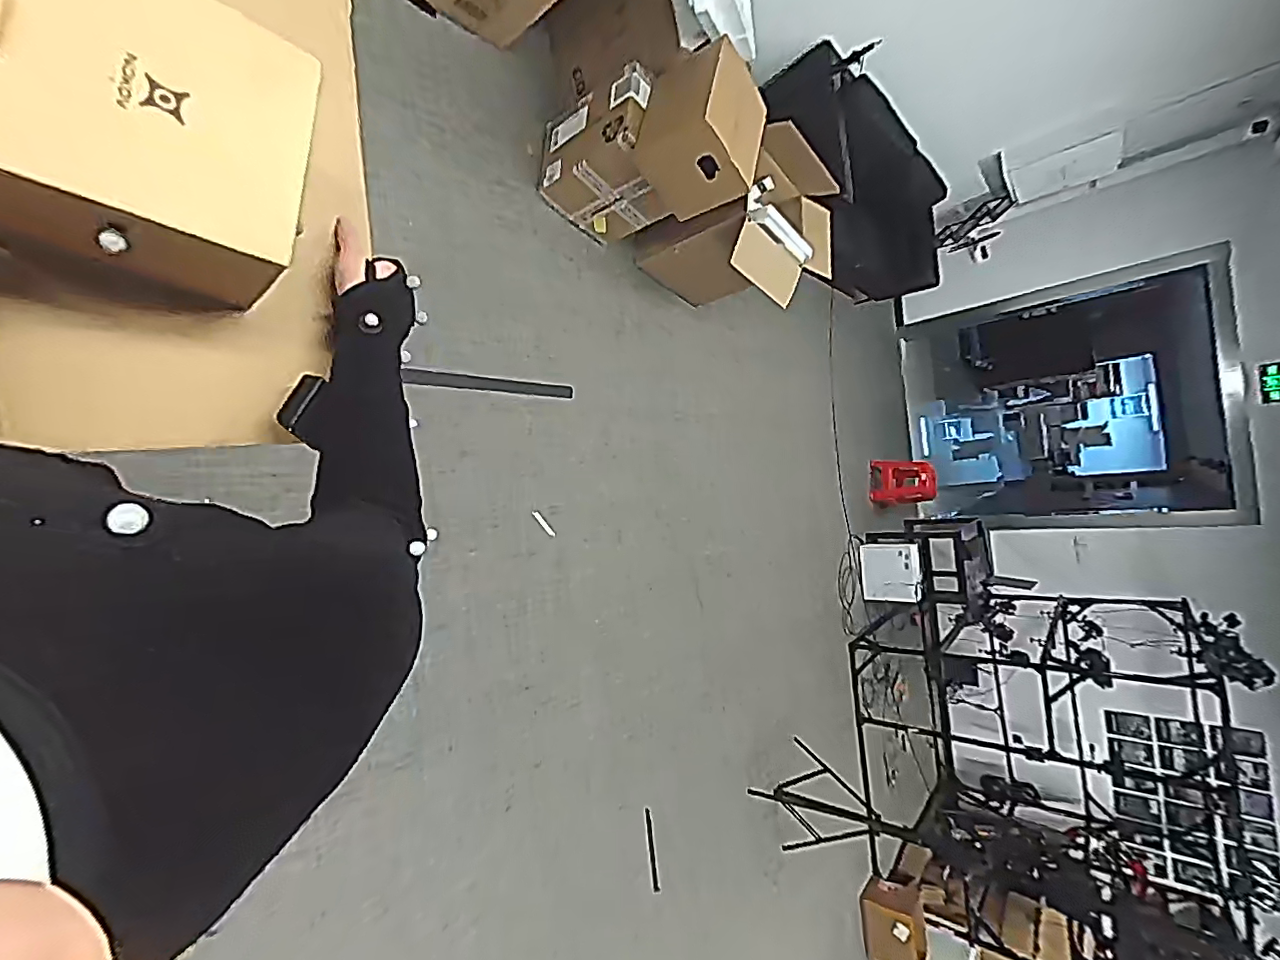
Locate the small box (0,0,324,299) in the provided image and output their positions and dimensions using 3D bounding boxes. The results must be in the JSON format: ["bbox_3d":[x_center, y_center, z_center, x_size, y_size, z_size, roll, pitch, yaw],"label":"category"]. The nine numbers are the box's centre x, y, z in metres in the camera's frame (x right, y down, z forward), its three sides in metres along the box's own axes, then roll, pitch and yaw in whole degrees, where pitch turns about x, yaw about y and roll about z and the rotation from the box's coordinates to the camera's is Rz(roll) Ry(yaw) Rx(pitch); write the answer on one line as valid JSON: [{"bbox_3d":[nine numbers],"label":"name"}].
[{"bbox_3d":[-0.379,-0.257,0.423,0.179,0.176,0.168,11,85,-44],"label":"small box"}]
